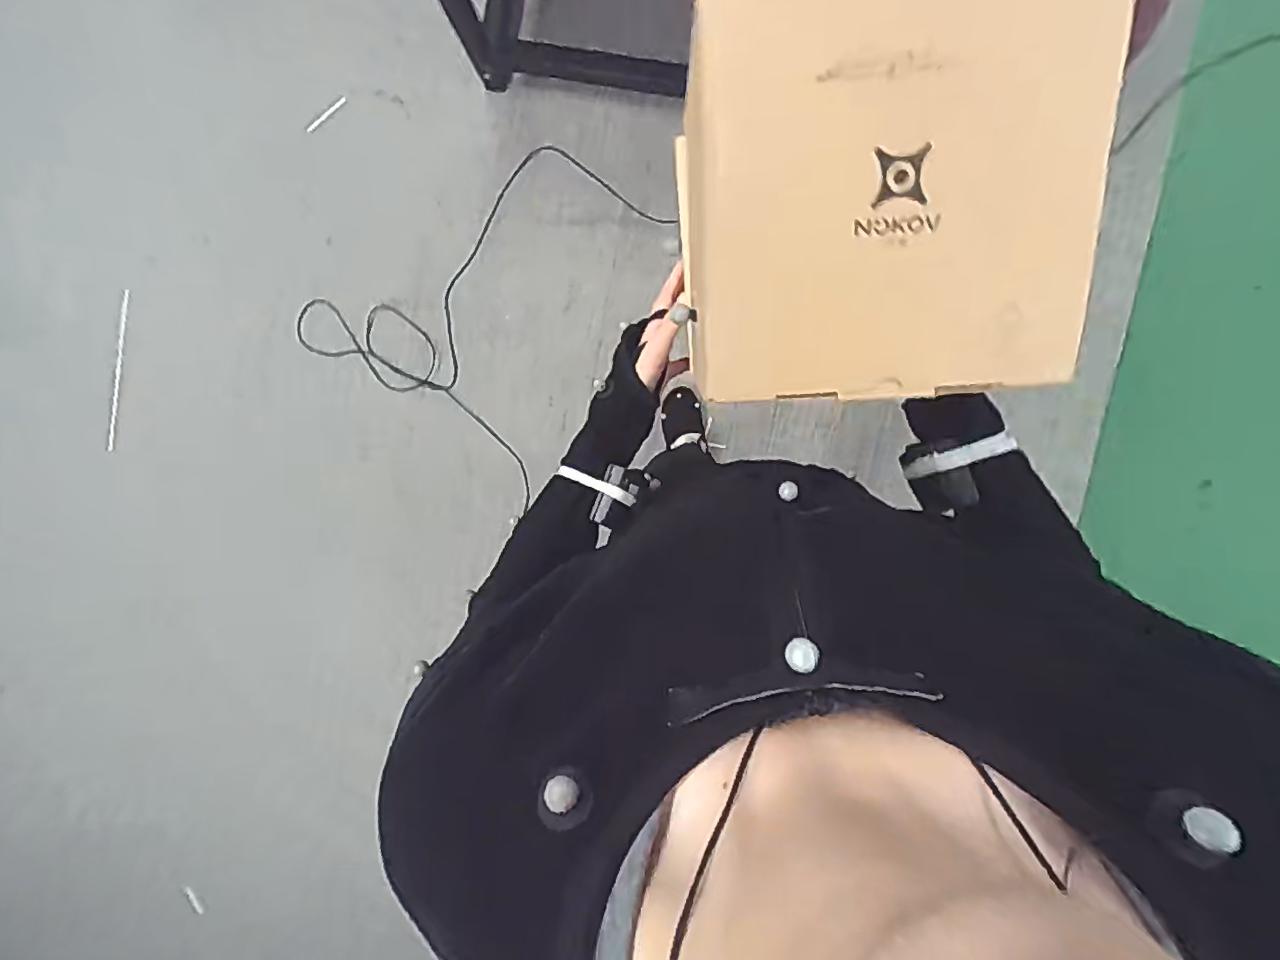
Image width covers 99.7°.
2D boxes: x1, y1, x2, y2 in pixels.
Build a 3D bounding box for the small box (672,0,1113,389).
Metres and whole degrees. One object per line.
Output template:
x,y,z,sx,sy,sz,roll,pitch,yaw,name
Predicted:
0.103,-0.150,0.301,0.168,0.176,0.179,-2,105,4,small box
